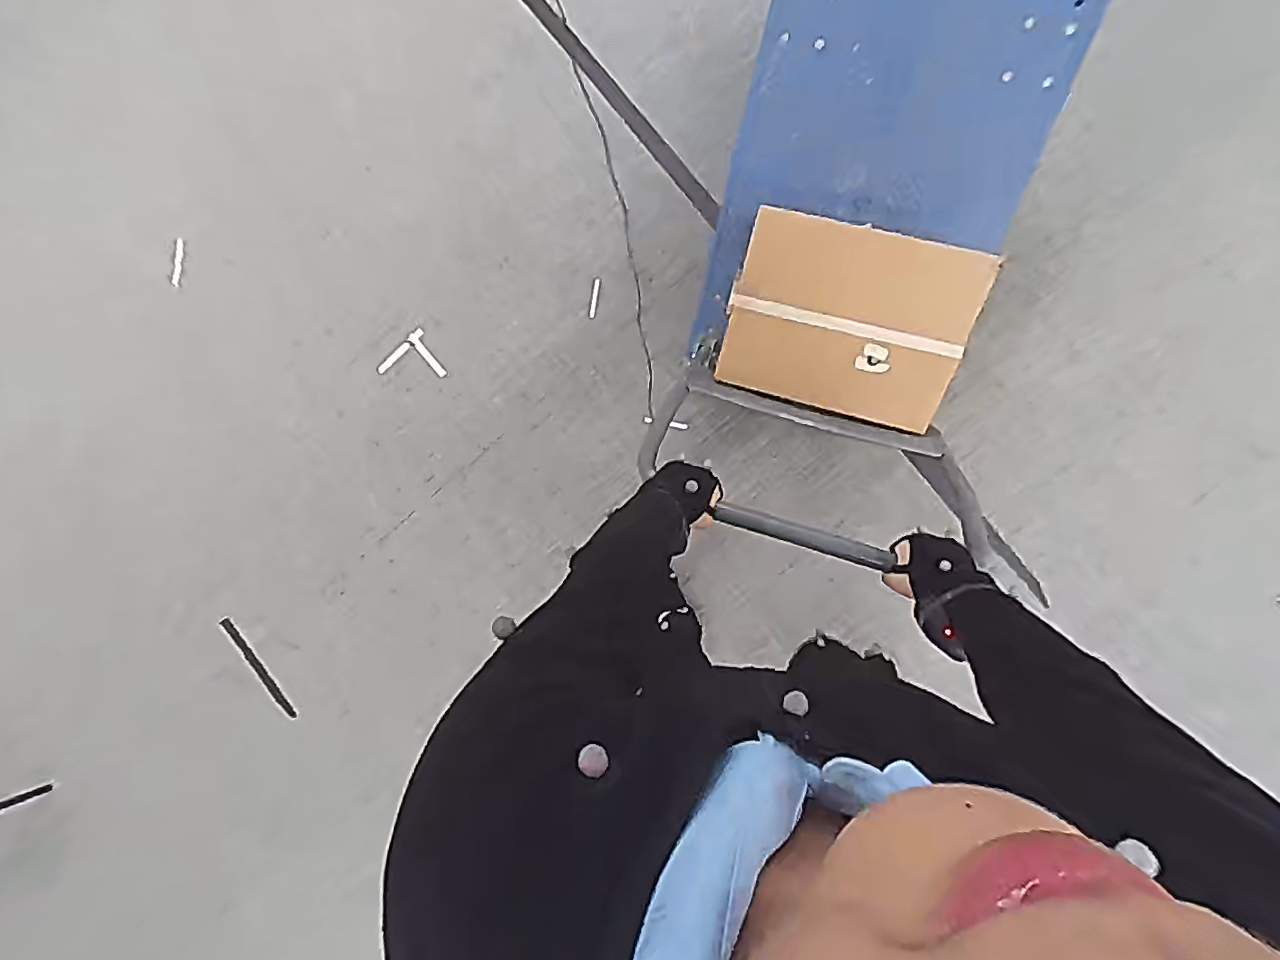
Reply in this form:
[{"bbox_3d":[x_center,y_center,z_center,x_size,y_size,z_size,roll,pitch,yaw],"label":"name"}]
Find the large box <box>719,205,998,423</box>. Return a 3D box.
[{"bbox_3d":[0.404,-0.347,1.106,0.408,0.320,0.320,16,116,7],"label":"large box"}]
